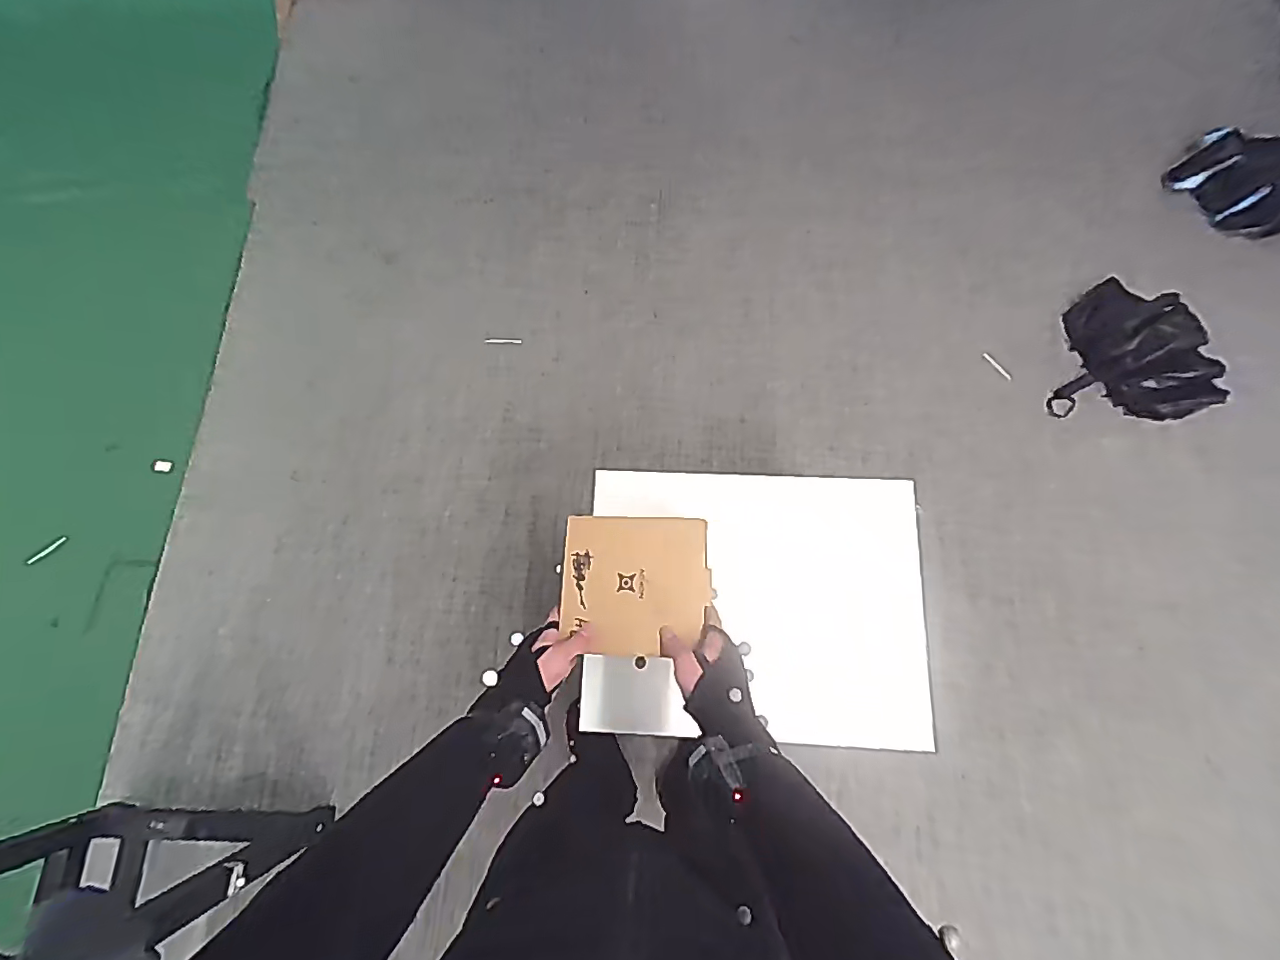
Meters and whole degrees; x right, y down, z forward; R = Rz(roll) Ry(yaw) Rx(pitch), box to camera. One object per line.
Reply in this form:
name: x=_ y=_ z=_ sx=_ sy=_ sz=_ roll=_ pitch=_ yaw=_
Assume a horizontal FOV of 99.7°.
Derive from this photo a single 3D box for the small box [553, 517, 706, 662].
small box: x=-0.005 y=0.149 z=0.716 sx=0.179 sy=0.176 sz=0.168 roll=1 pitch=73 yaw=5
